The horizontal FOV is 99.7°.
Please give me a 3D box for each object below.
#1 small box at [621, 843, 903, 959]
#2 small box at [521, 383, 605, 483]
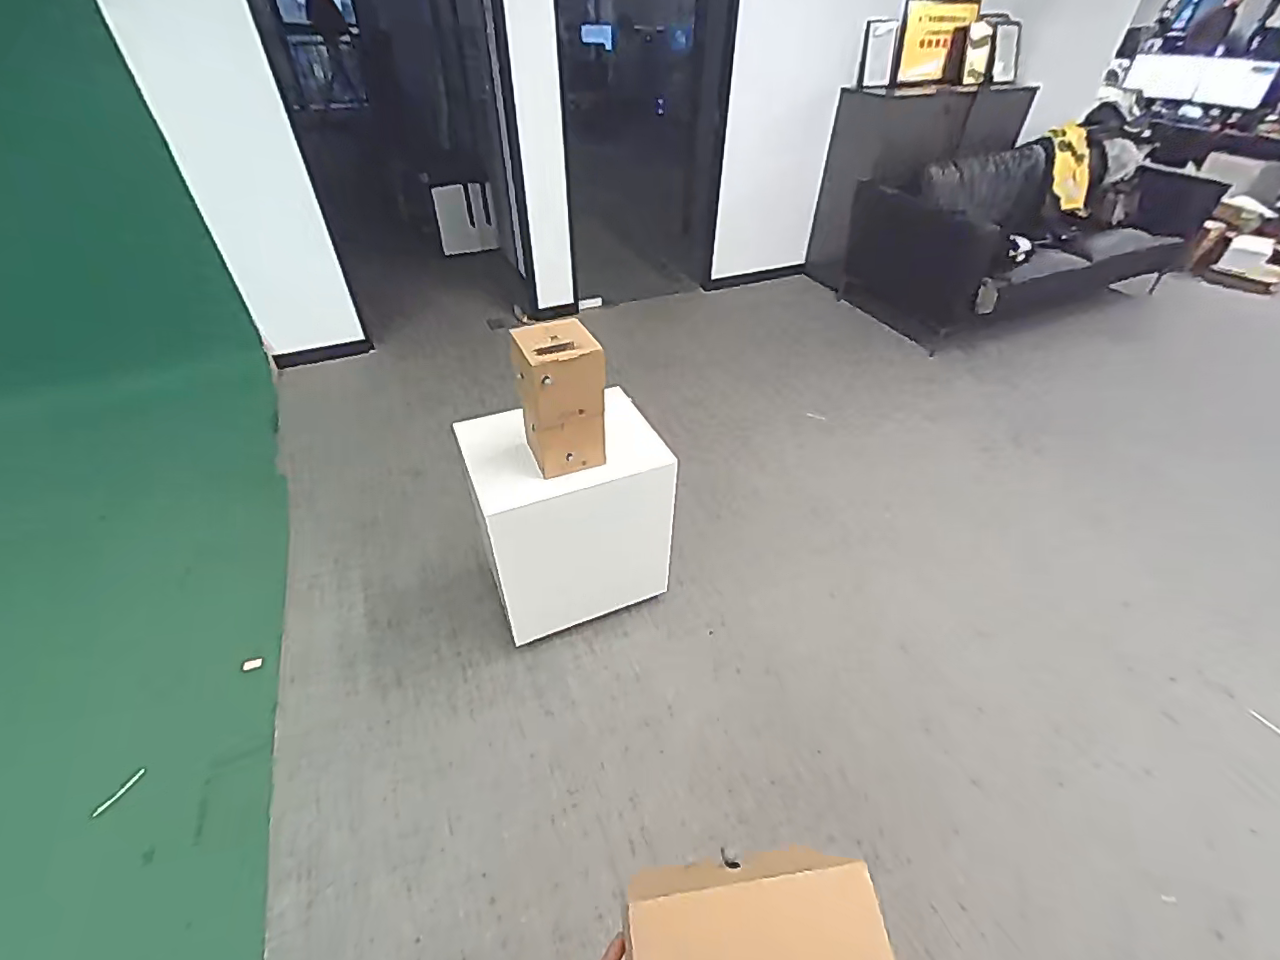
[{"bbox_3d":[0.078,0.367,0.374,0.168,0.176,0.179,-4,58,-7],"label":"small box"},{"bbox_3d":[-0.194,-0.119,1.367,0.168,0.176,0.179,-15,43,-19],"label":"small box"}]
